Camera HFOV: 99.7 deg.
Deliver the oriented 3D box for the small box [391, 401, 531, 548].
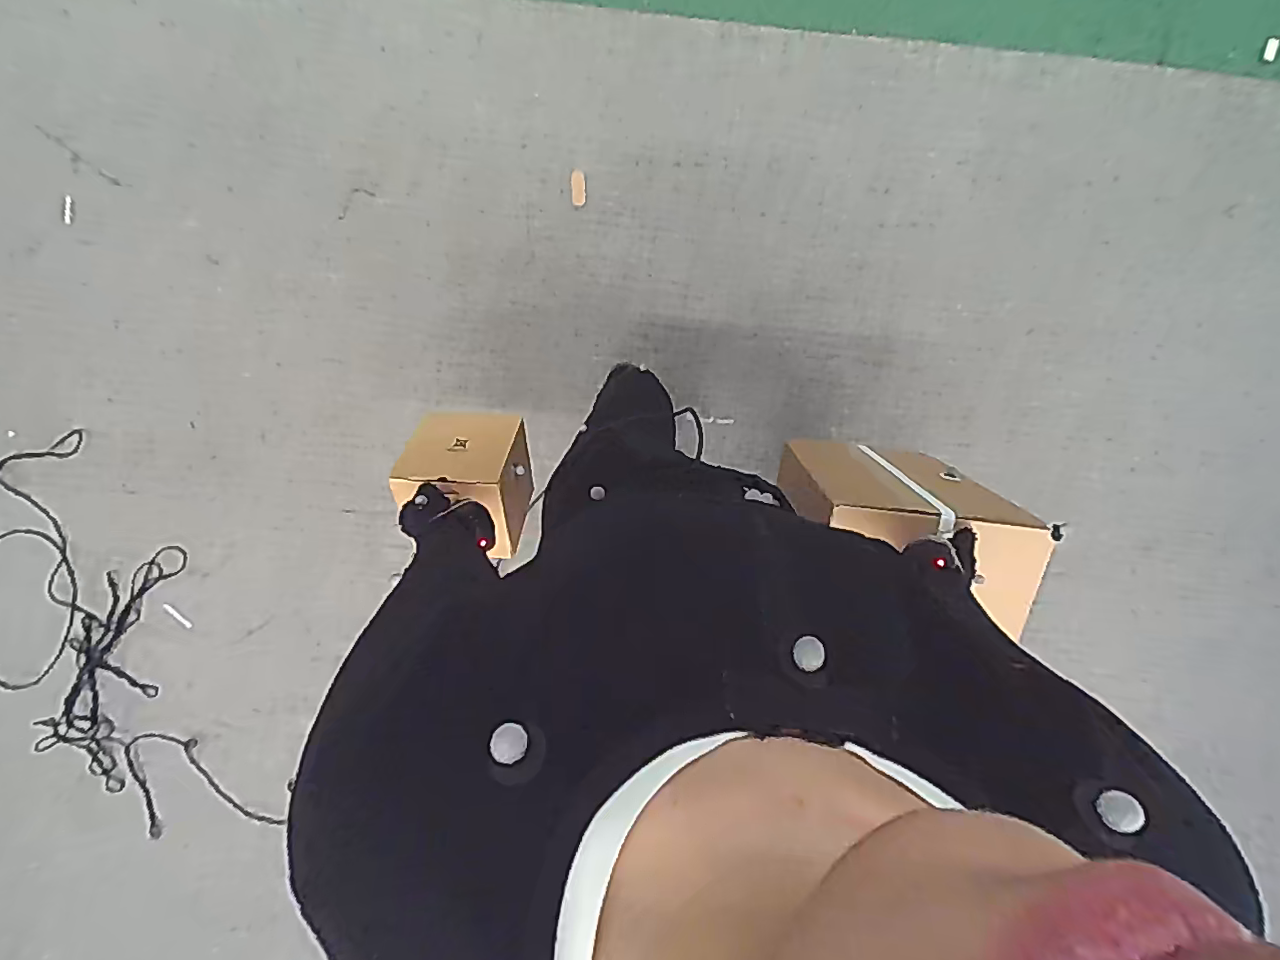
[{"bbox_3d":[-0.284,-0.010,0.906,0.168,0.179,0.176,3,134,1],"label":"small box"}]
